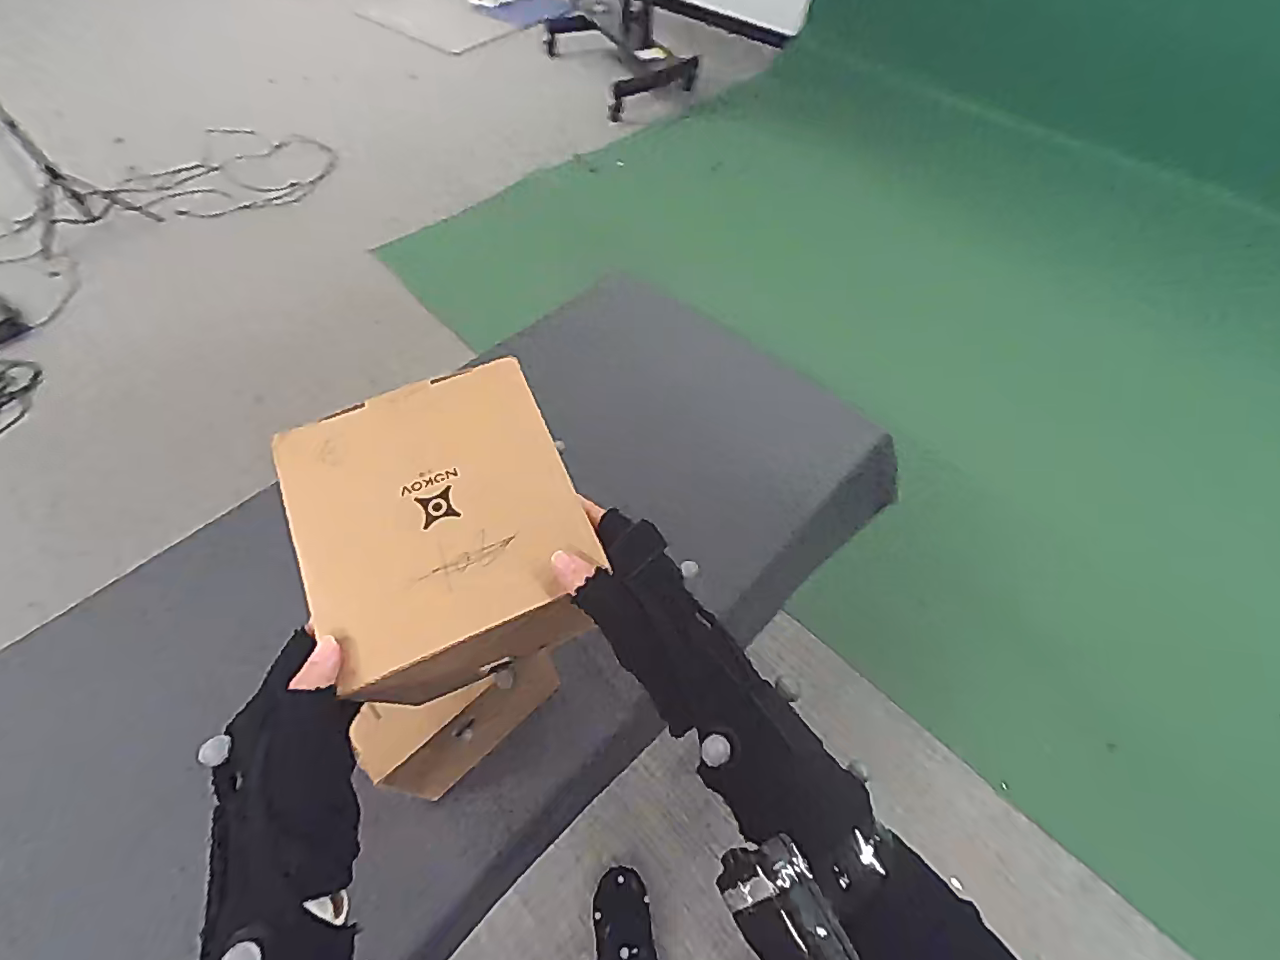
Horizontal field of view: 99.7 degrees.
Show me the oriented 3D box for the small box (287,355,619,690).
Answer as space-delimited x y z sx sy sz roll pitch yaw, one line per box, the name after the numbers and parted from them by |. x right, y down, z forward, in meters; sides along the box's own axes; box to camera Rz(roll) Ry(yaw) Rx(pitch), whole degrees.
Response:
-0.126 0.042 0.410 0.168 0.176 0.179 -21 70 -12 | small box

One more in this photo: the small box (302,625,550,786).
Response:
-0.219 0.208 0.600 0.179 0.176 0.168 -39 66 -24 | small box
